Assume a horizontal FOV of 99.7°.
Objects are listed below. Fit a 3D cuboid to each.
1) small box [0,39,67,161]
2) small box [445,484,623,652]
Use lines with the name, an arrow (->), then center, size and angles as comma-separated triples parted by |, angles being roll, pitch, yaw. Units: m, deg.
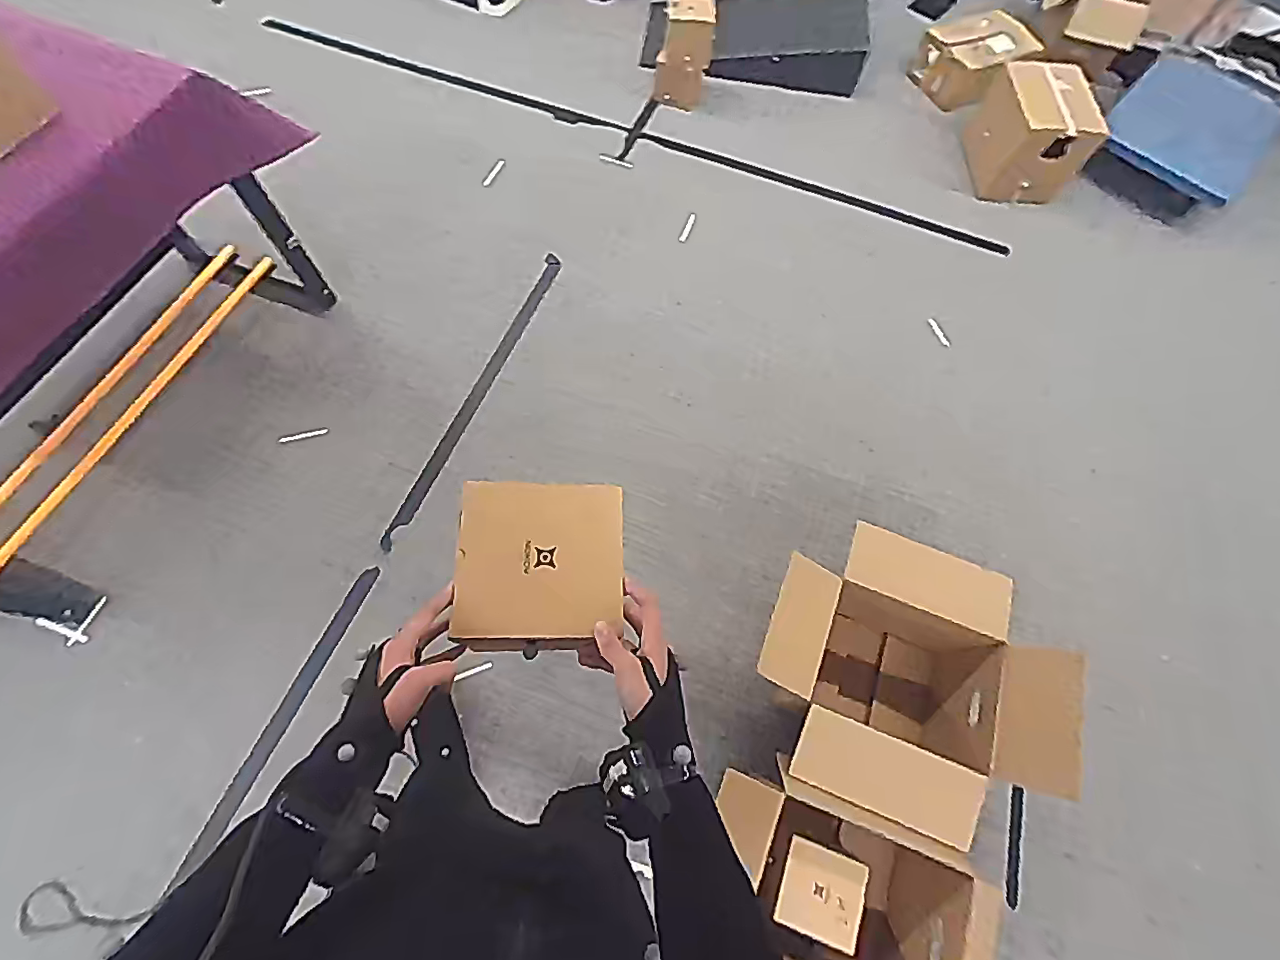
small box -> -1.285, -0.752, 1.031 | 0.168, 0.176, 0.179 | 20, 67, 5
small box -> -0.115, 0.111, 0.638 | 0.179, 0.176, 0.168 | 1, 69, -6
